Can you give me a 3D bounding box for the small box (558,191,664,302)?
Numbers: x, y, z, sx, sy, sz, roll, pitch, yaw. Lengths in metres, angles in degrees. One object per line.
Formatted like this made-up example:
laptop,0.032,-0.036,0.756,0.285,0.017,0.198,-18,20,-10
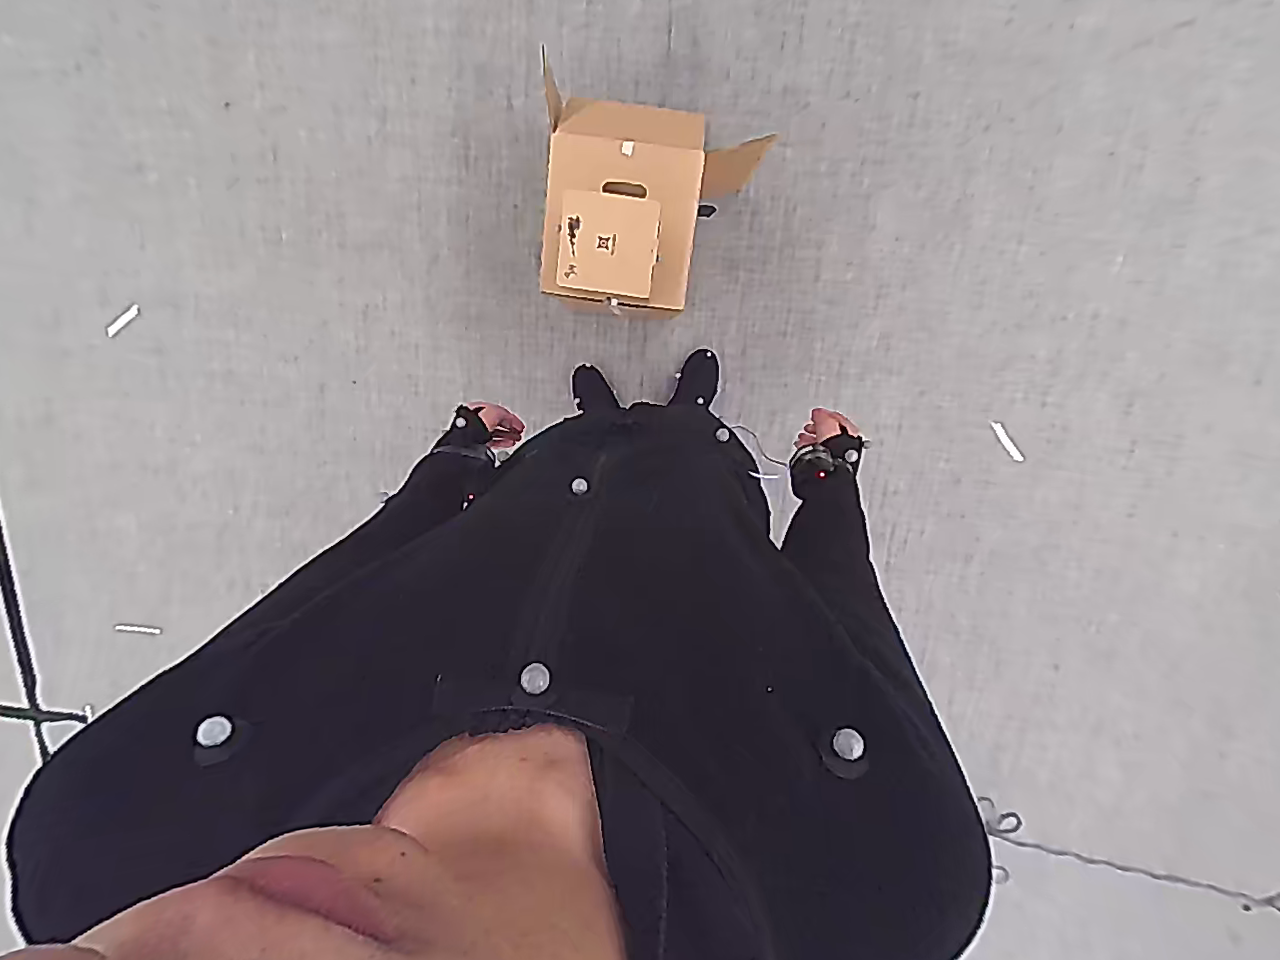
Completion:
small box,-0.054,-0.445,1.055,0.179,0.176,0.168,9,106,-1
